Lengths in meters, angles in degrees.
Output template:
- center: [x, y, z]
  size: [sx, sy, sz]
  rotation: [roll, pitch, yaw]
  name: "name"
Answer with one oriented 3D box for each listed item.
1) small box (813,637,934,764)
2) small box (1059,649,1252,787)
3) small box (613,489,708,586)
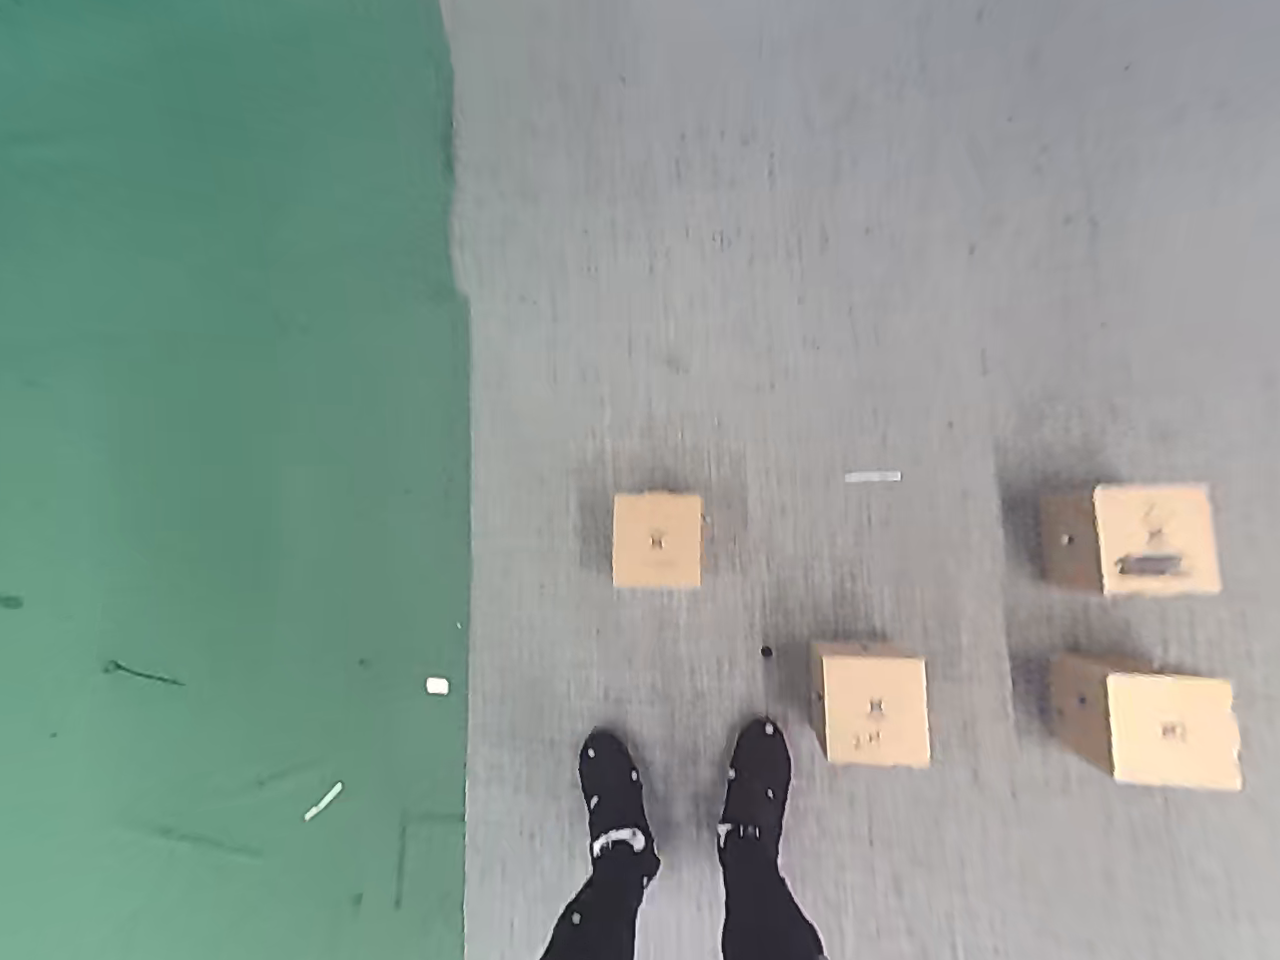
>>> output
- center: [0.410, 0.386, 0.976]
  size: [0.168, 0.176, 0.179]
  rotation: [-1, 83, 10]
  name: "small box"
- center: [0.838, 0.385, 0.904]
  size: [0.179, 0.176, 0.168]
  rotation: [-1, 84, 9]
  name: "small box"
- center: [0.046, 0.113, 1.071]
  size: [0.168, 0.176, 0.179]
  rotation: [0, 84, 10]
  name: "small box"
